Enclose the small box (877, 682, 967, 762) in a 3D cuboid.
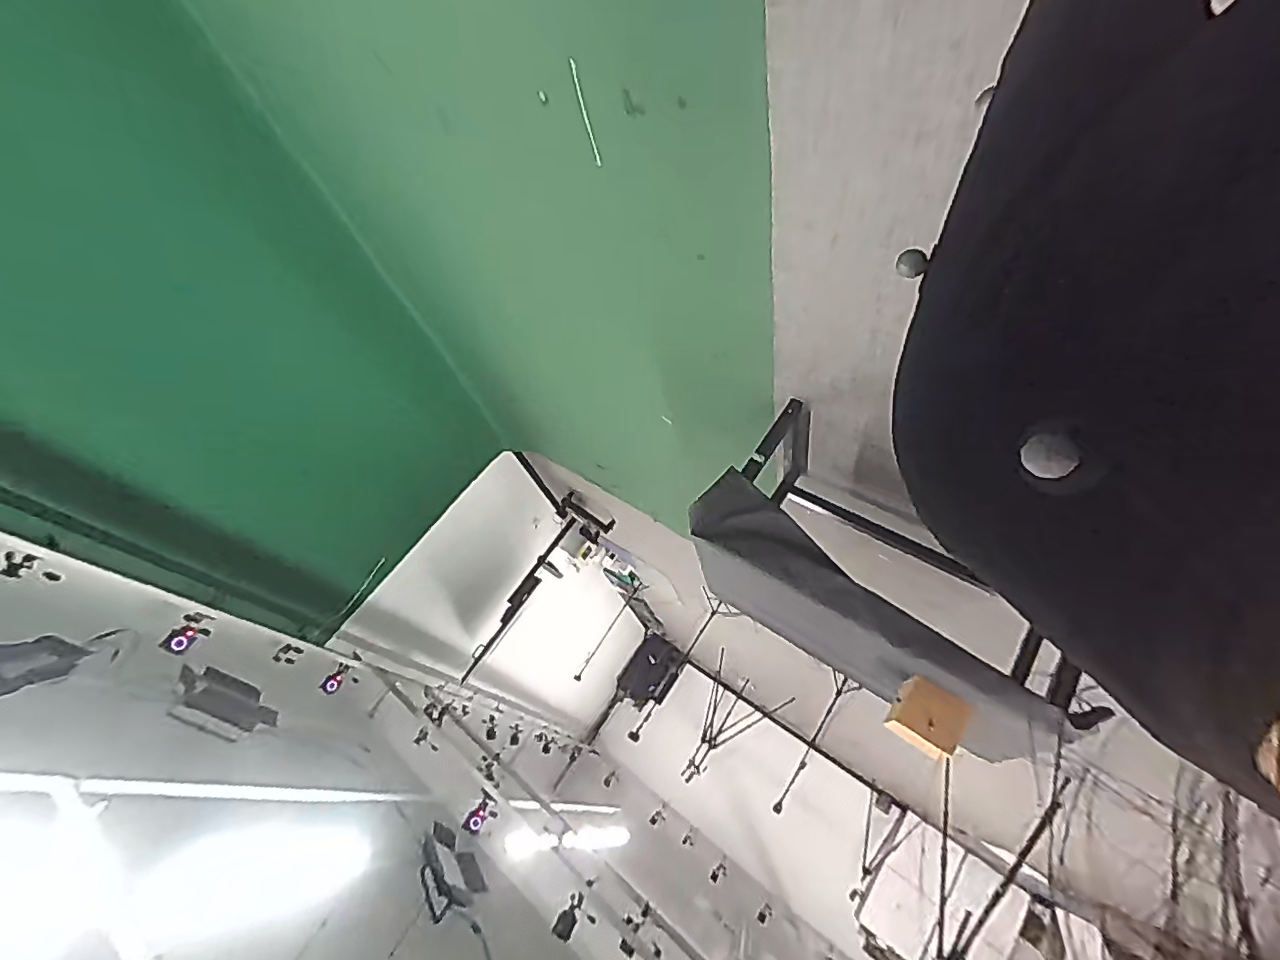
[{"bbox_3d":[0.886,0.757,1.704,0.179,0.176,0.168,29,159,22],"label":"small box"}]
